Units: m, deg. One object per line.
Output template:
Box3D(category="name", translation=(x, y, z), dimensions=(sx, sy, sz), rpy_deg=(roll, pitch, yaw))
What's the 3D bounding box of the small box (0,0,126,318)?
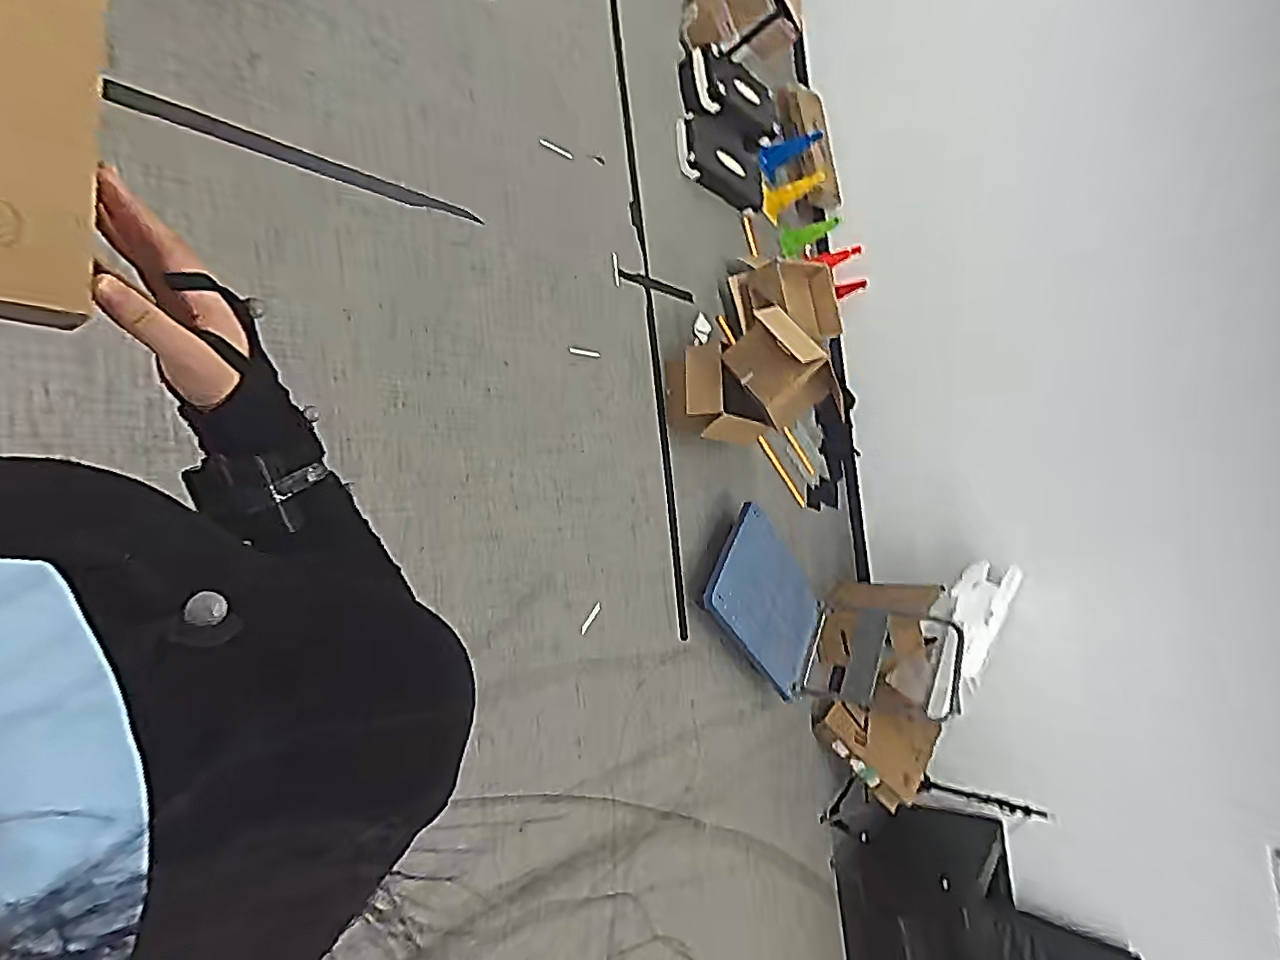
Box3D(category="small box", translation=(-0.385, -0.188, 0.273), dimensions=(0.168, 0.176, 0.179), rpy_deg=(2, 96, -50))
